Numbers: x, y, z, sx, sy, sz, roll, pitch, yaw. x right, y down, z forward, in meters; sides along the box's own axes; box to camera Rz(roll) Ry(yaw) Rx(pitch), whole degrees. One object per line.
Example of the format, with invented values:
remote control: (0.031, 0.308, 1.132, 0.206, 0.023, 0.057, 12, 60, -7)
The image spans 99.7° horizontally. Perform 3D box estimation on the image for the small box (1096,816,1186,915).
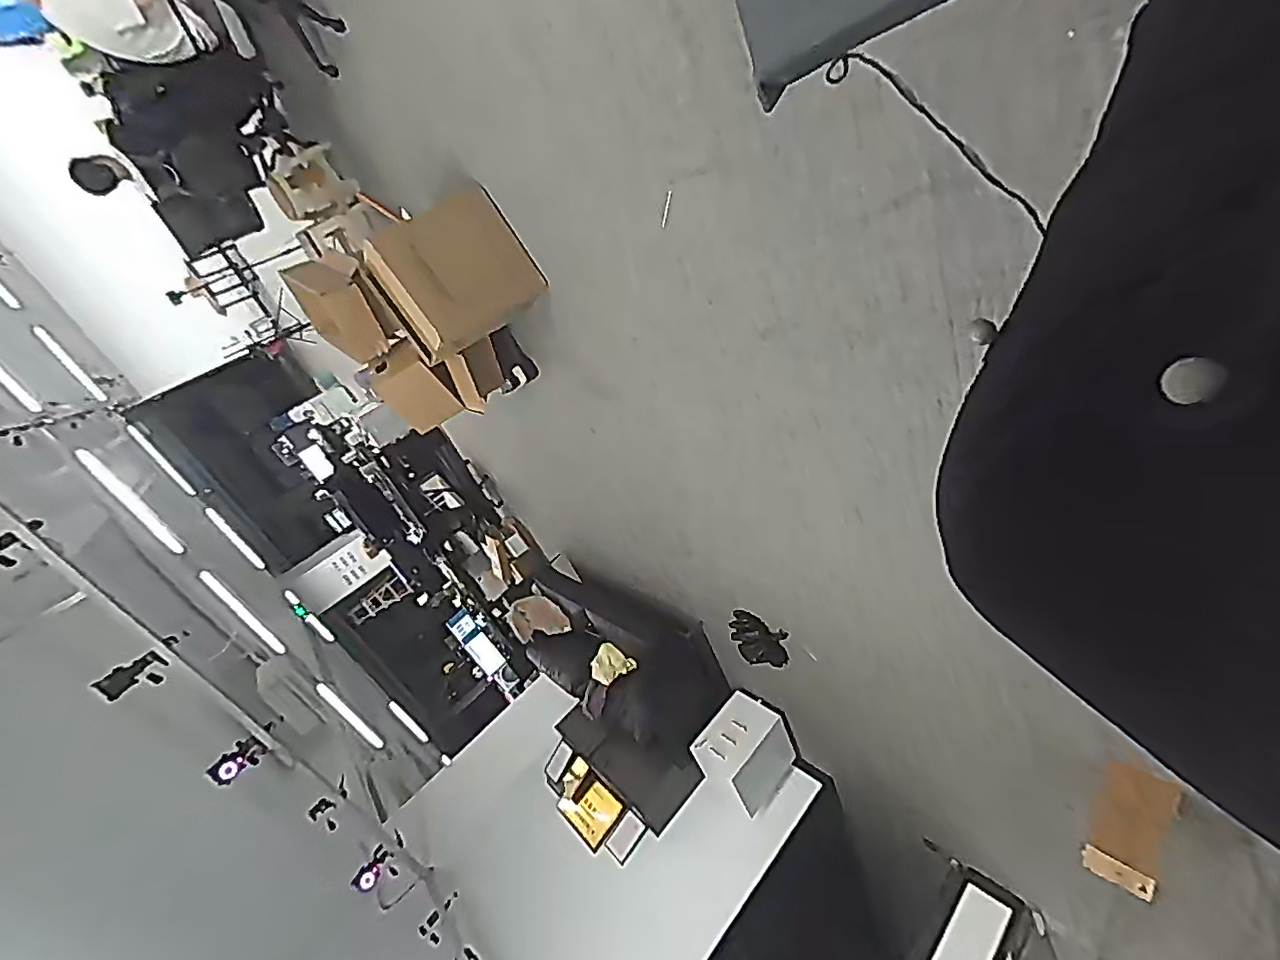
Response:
small box: (1.616, 1.232, 1.747, 0.179, 0.176, 0.168, 16, 138, 49)
